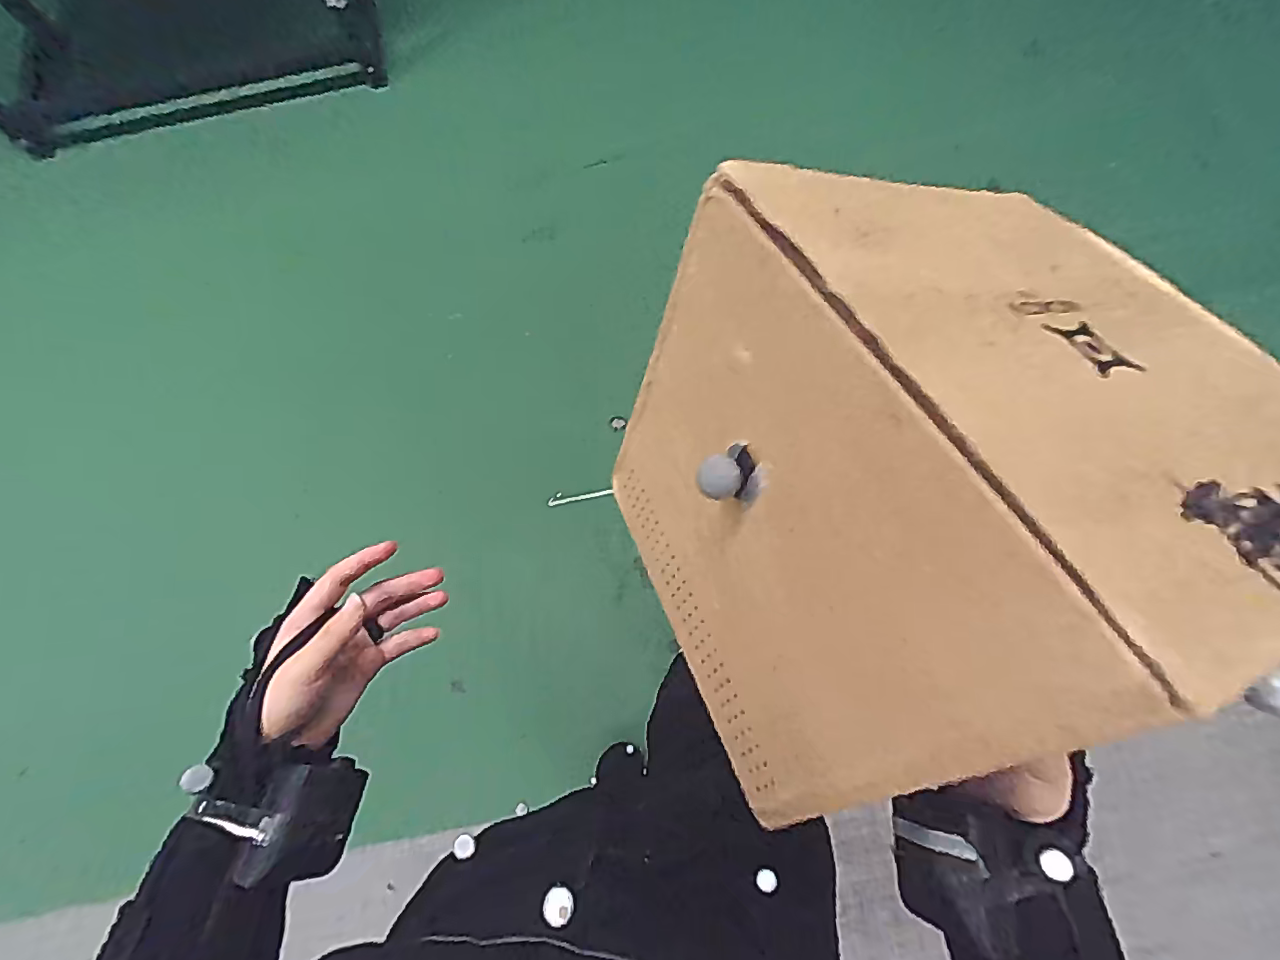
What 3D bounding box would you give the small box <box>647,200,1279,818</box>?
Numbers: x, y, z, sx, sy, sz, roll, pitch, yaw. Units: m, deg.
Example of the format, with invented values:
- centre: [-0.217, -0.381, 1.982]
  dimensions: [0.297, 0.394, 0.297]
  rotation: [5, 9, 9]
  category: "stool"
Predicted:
- centre: [0.119, 0.010, 0.230]
  dimensions: [0.168, 0.176, 0.179]
  rotation: [-11, 57, -23]
  category: "small box"
